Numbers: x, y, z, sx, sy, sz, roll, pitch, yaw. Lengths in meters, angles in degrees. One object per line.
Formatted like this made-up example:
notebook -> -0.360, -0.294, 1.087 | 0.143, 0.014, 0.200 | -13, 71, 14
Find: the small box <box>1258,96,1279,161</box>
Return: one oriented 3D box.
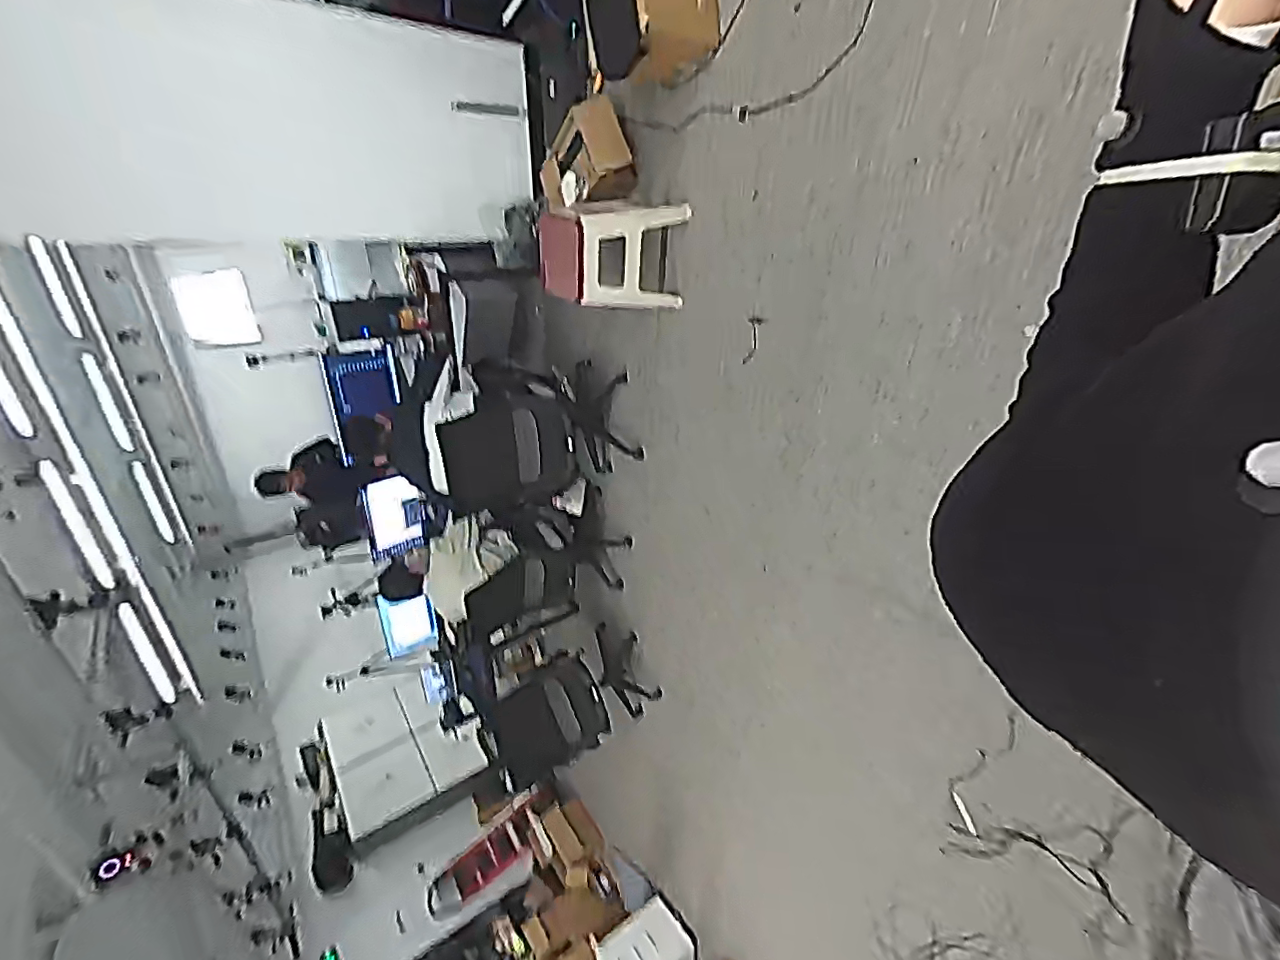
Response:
small box -> 0.965, -0.520, 0.698 | 0.168, 0.176, 0.179 | 26, 124, 47
